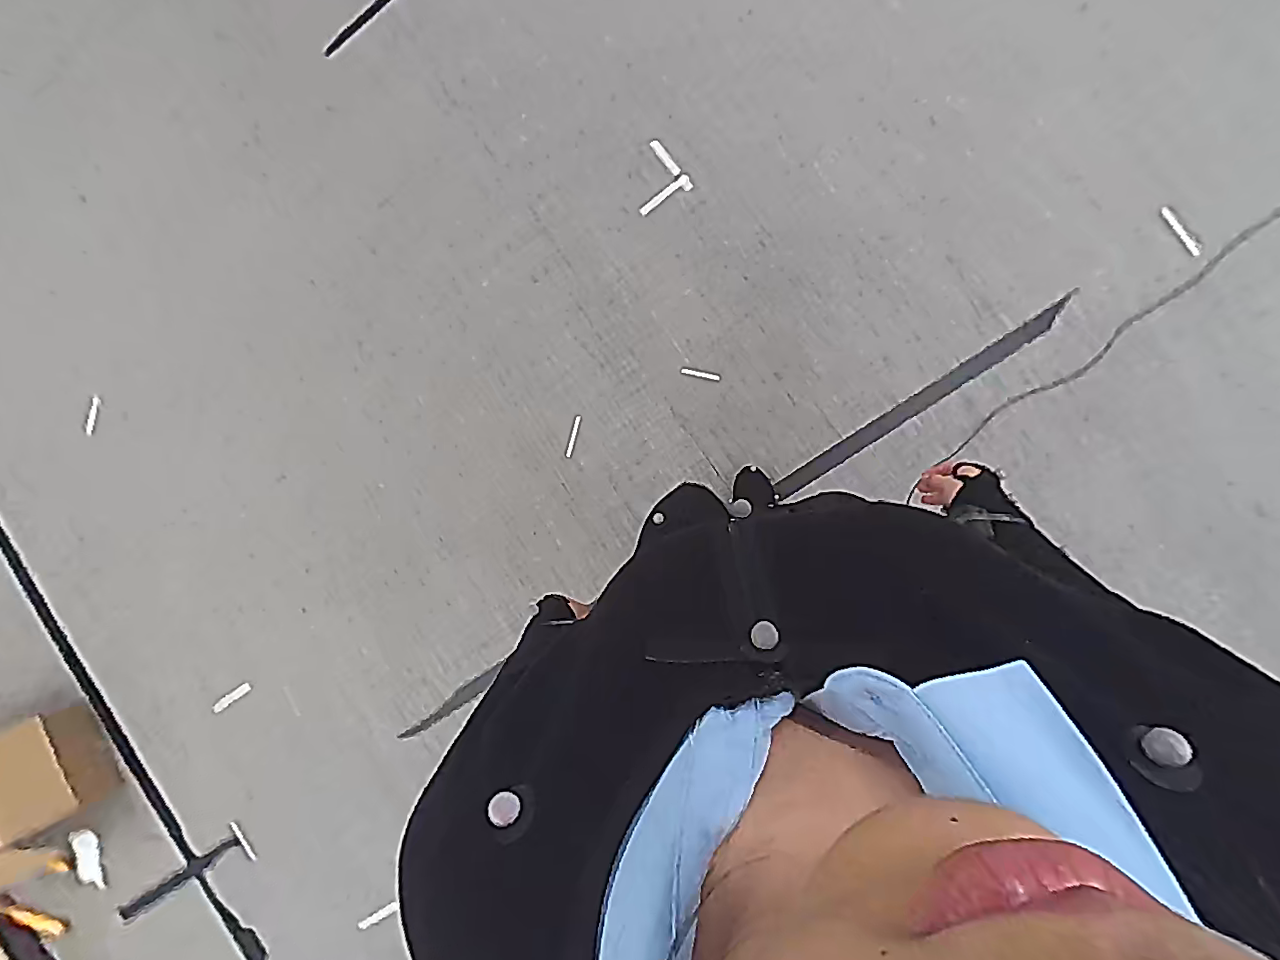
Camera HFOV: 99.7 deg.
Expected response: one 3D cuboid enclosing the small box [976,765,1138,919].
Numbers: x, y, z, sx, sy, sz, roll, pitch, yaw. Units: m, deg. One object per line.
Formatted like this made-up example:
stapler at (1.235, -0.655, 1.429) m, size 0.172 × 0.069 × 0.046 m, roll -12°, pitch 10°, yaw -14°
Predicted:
small box at (0.861, 0.748, 1.137) m, size 0.168 × 0.176 × 0.179 m, roll -33°, pitch 86°, yaw 6°
